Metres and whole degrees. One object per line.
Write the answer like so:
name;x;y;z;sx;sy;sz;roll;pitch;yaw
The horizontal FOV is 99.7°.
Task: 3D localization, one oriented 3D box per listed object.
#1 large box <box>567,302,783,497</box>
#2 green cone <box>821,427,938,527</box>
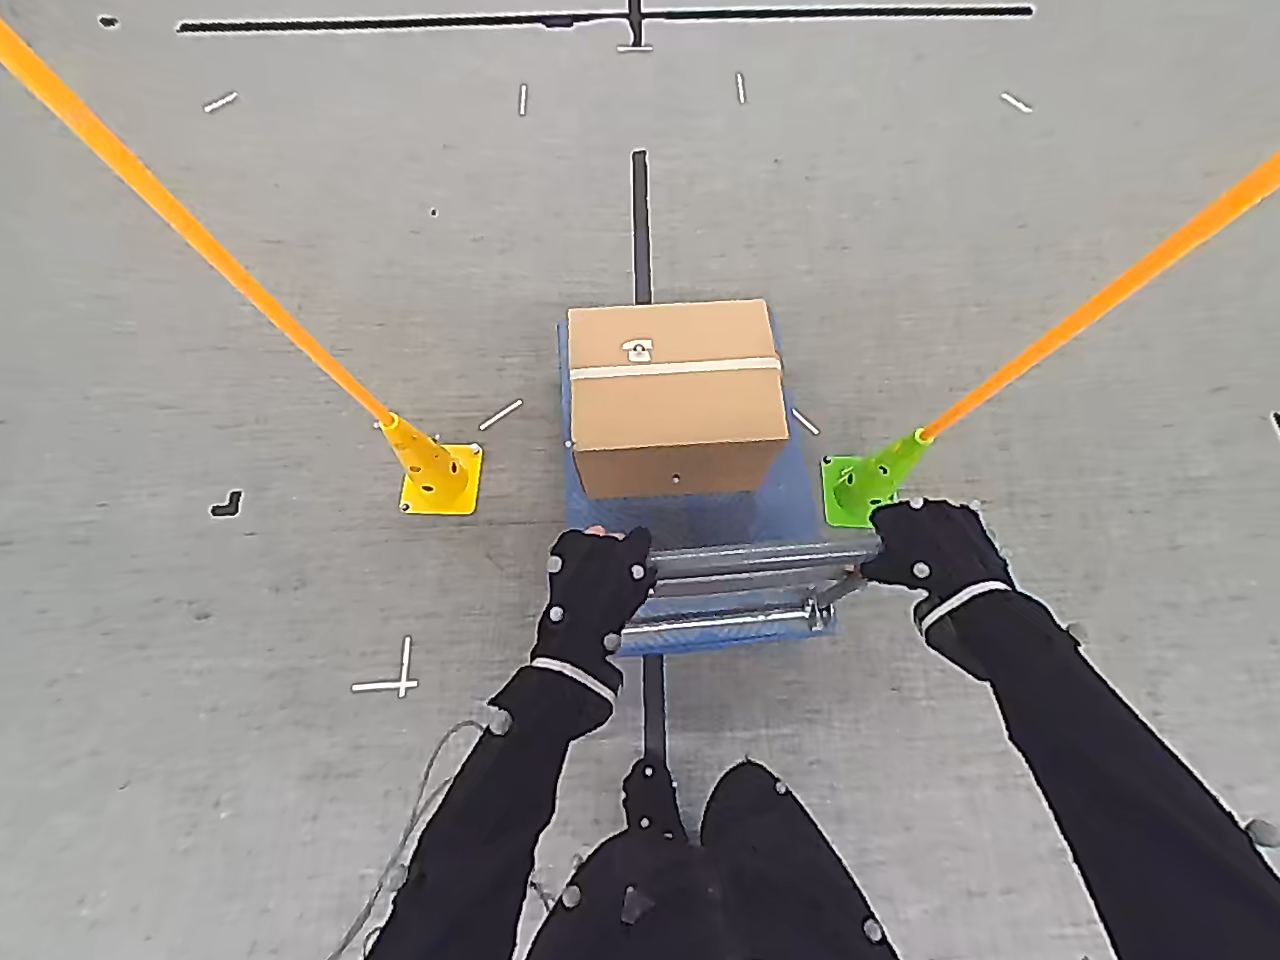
large box;0.064;-0.159;1.195;0.408;0.320;0.320;-4;71;-1
green cone;0.600;-0.030;1.307;0.202;0.368;0.200;2;70;-1
